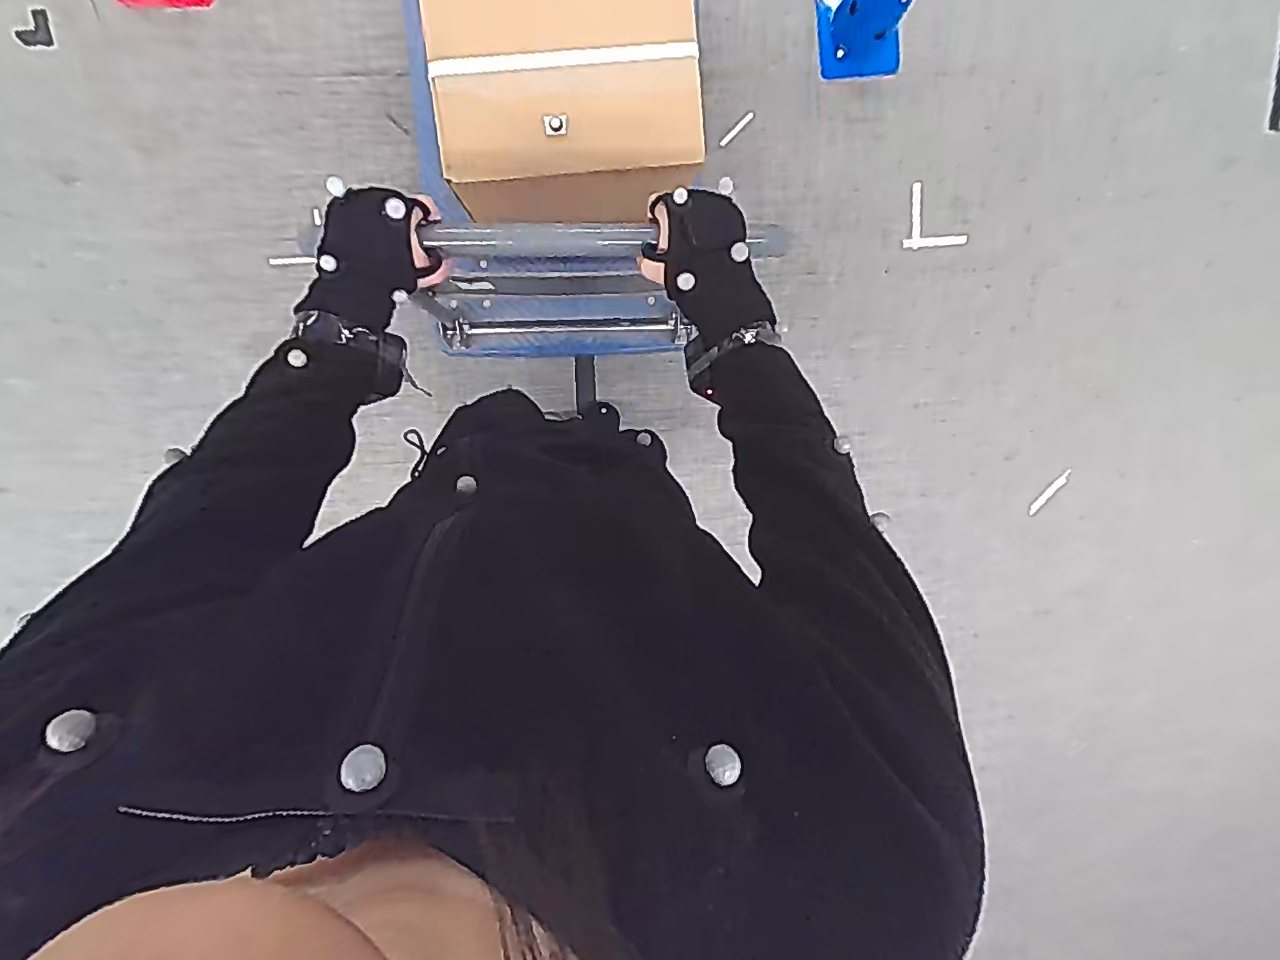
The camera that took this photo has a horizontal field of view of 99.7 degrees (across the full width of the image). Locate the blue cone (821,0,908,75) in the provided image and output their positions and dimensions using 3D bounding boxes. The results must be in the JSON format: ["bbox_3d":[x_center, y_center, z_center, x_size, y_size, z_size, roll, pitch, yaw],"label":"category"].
[{"bbox_3d":[0.544,-1.048,1.128,0.193,0.380,0.192,-7,100,-5],"label":"blue cone"}]
